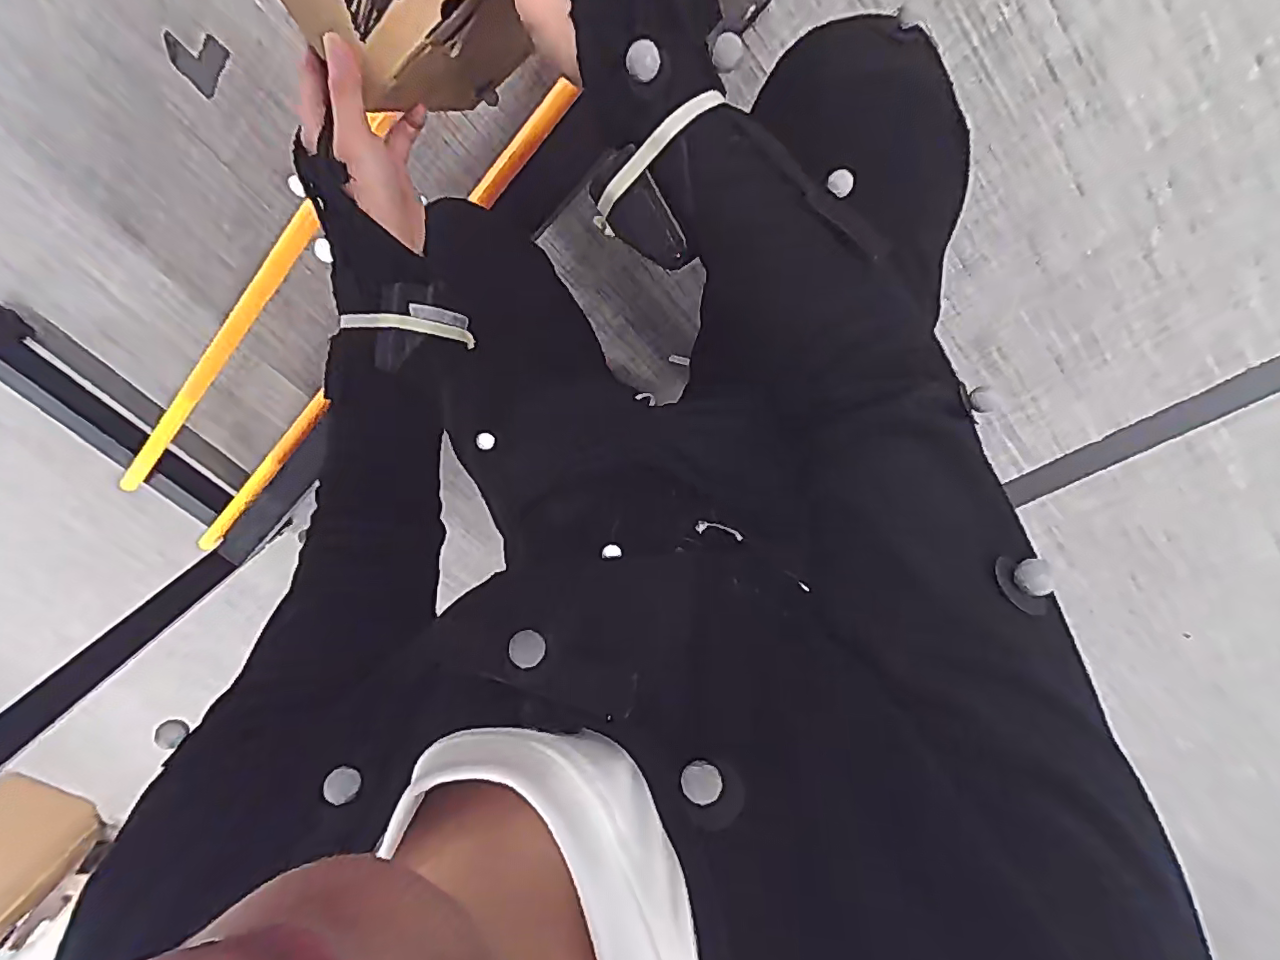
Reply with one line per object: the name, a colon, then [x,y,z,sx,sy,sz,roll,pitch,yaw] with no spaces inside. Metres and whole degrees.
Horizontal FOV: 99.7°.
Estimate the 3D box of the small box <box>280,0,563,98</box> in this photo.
small box: [-0.137,-0.368,0.321,0.168,0.176,0.179,-25,116,24]
